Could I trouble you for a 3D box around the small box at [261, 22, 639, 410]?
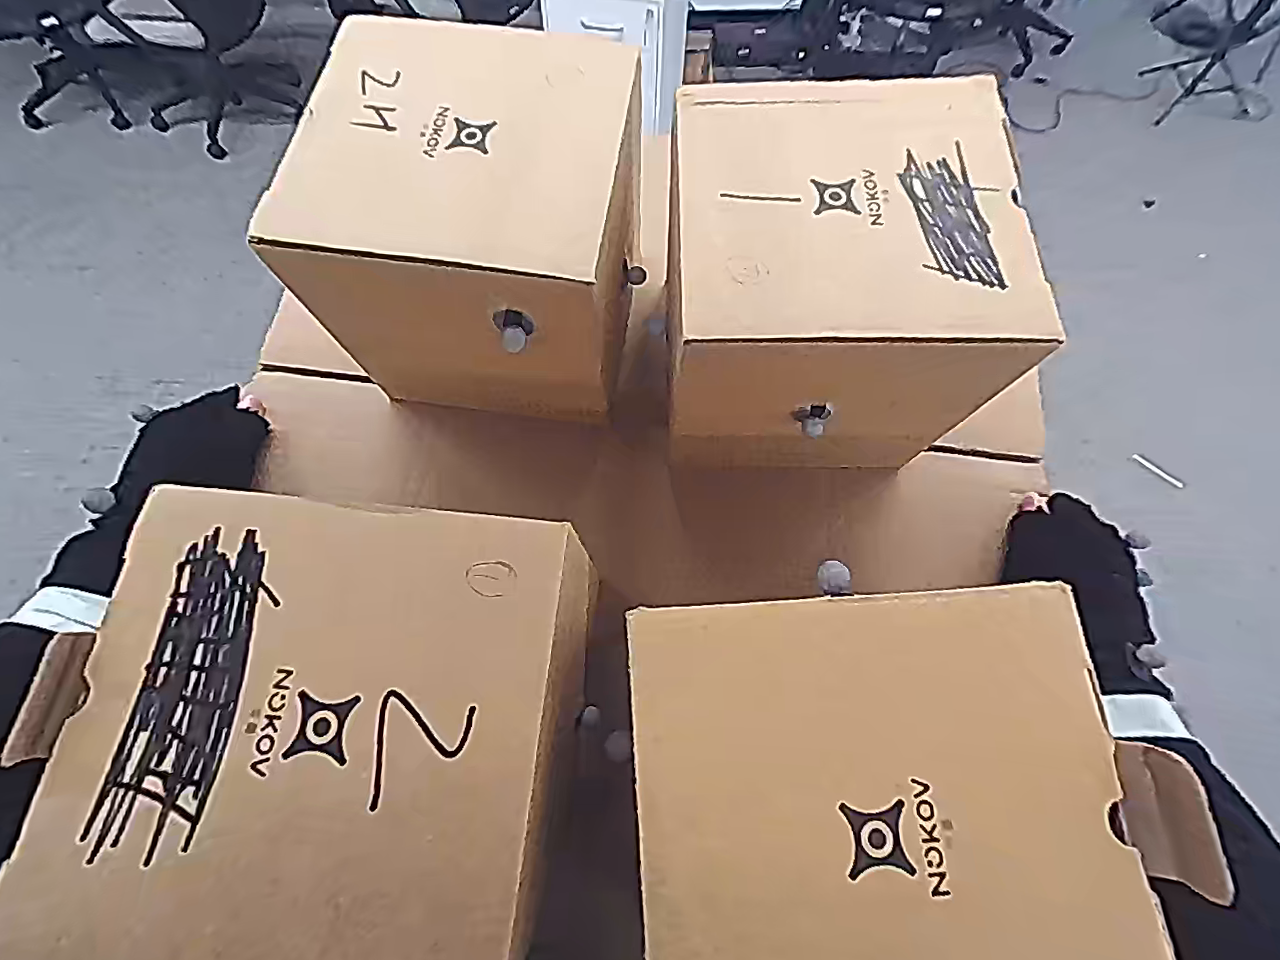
[{"bbox_3d":[-0.099,-0.163,0.376,0.179,0.176,0.168,8,71,3],"label":"small box"}]
